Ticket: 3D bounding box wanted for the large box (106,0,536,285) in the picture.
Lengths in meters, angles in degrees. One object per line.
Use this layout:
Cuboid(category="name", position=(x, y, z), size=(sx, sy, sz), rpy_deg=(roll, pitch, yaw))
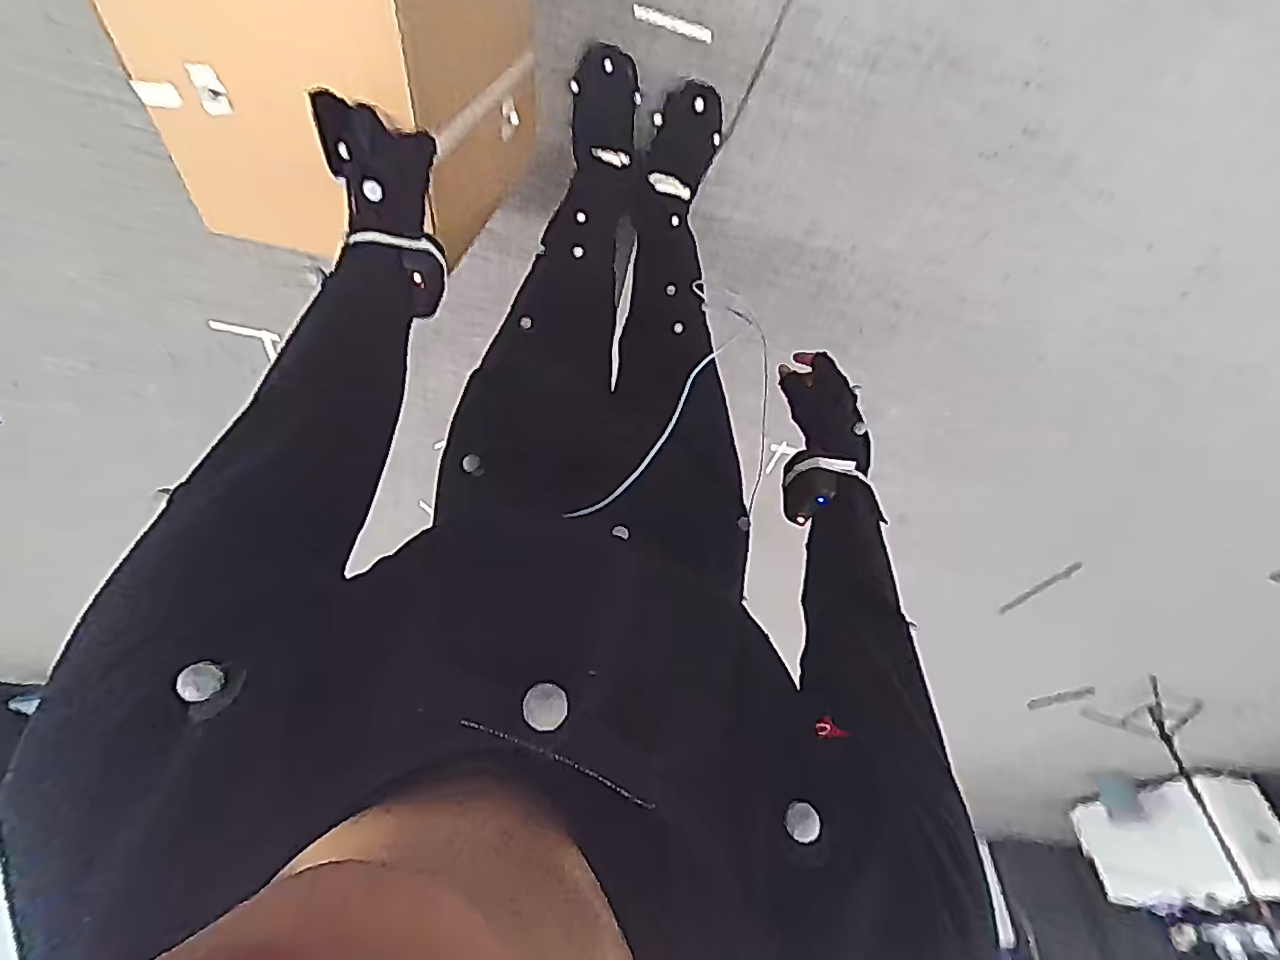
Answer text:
Cuboid(category="large box", position=(-0.346, -0.526, 0.710), size=(0.320, 0.408, 0.320), rpy_deg=(12, 143, -1))
